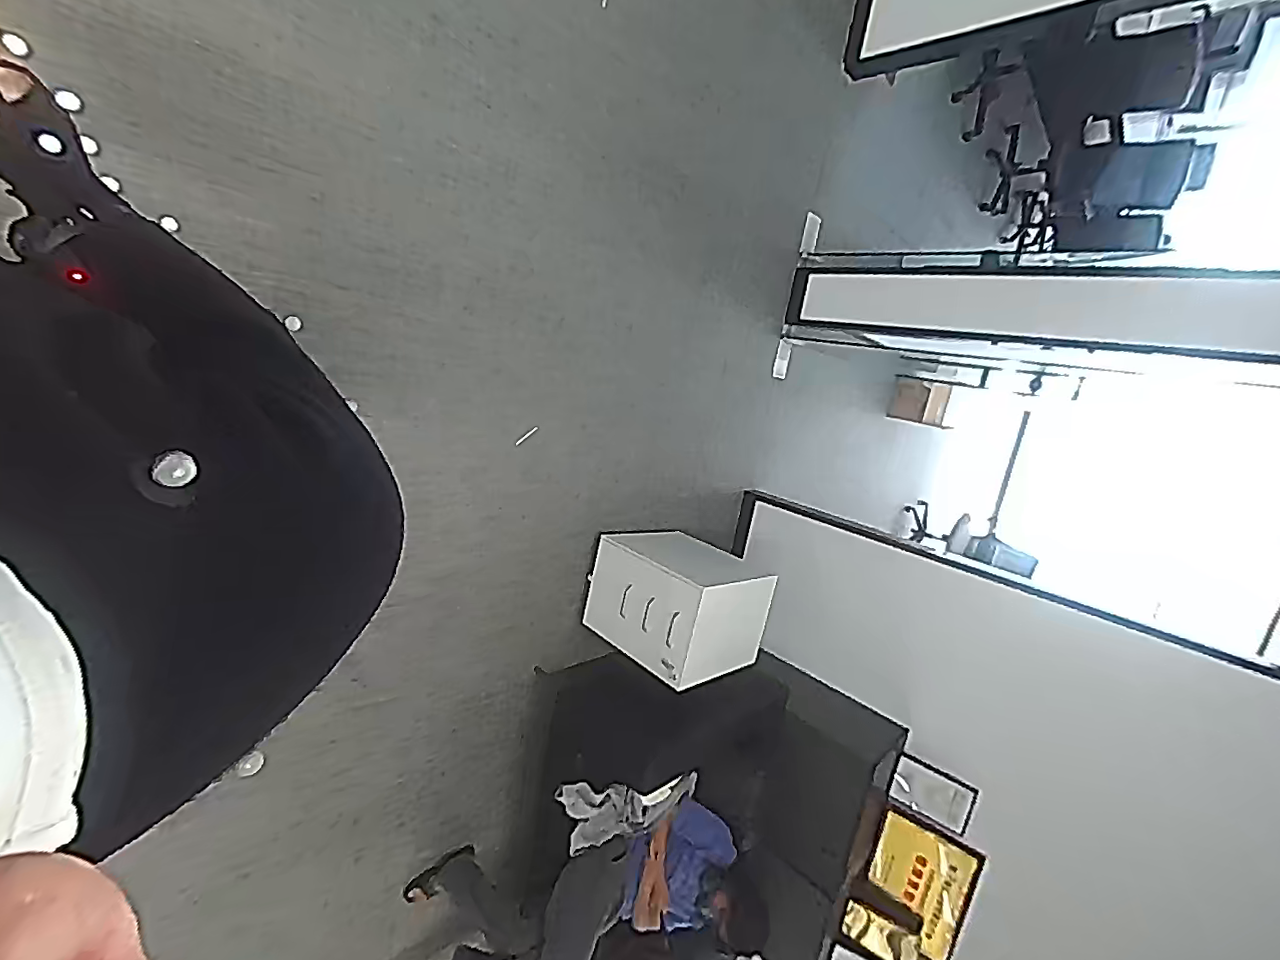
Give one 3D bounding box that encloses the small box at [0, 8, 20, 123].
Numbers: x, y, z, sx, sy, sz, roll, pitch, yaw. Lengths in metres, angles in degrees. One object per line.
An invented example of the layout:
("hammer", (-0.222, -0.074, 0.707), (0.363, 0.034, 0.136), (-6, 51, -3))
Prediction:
("small box", (-0.642, -0.410, 0.428), (0.179, 0.176, 0.168), (-11, 112, -45))
